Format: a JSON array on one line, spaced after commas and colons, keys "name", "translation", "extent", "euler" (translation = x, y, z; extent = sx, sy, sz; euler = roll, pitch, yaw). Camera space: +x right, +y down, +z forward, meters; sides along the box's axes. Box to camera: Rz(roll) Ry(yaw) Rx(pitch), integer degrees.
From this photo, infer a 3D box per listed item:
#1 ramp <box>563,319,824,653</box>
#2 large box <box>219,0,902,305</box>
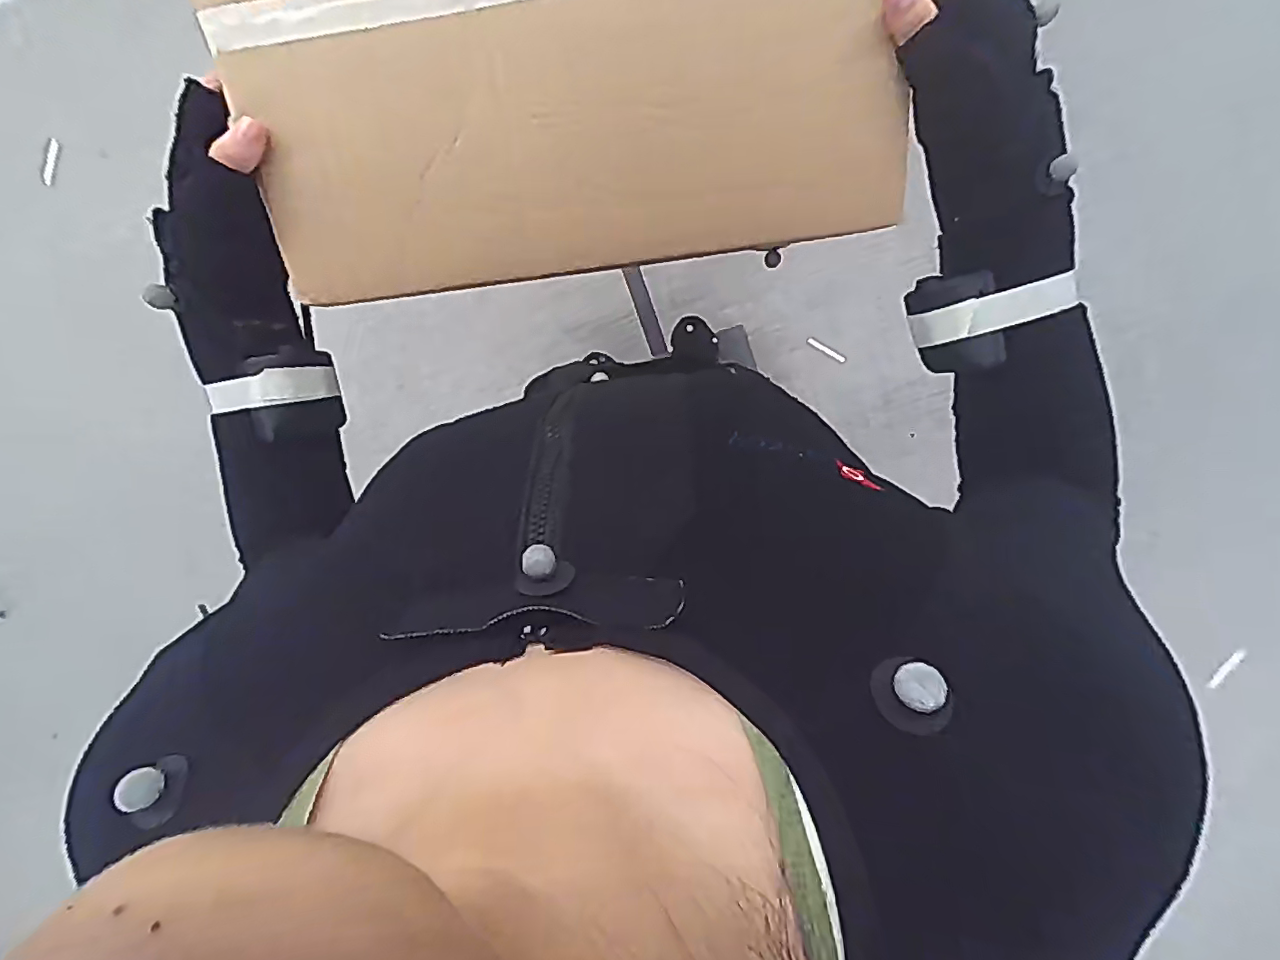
[{"name": "ramp", "translation": [0.198, 0.084, 1.603], "extent": [0.509, 0.206, 0.991], "euler": [-22, 103, 8]}, {"name": "large box", "translation": [-0.044, -0.345, 0.449], "extent": [0.408, 0.320, 0.320], "euler": [-6, 112, 4]}]
